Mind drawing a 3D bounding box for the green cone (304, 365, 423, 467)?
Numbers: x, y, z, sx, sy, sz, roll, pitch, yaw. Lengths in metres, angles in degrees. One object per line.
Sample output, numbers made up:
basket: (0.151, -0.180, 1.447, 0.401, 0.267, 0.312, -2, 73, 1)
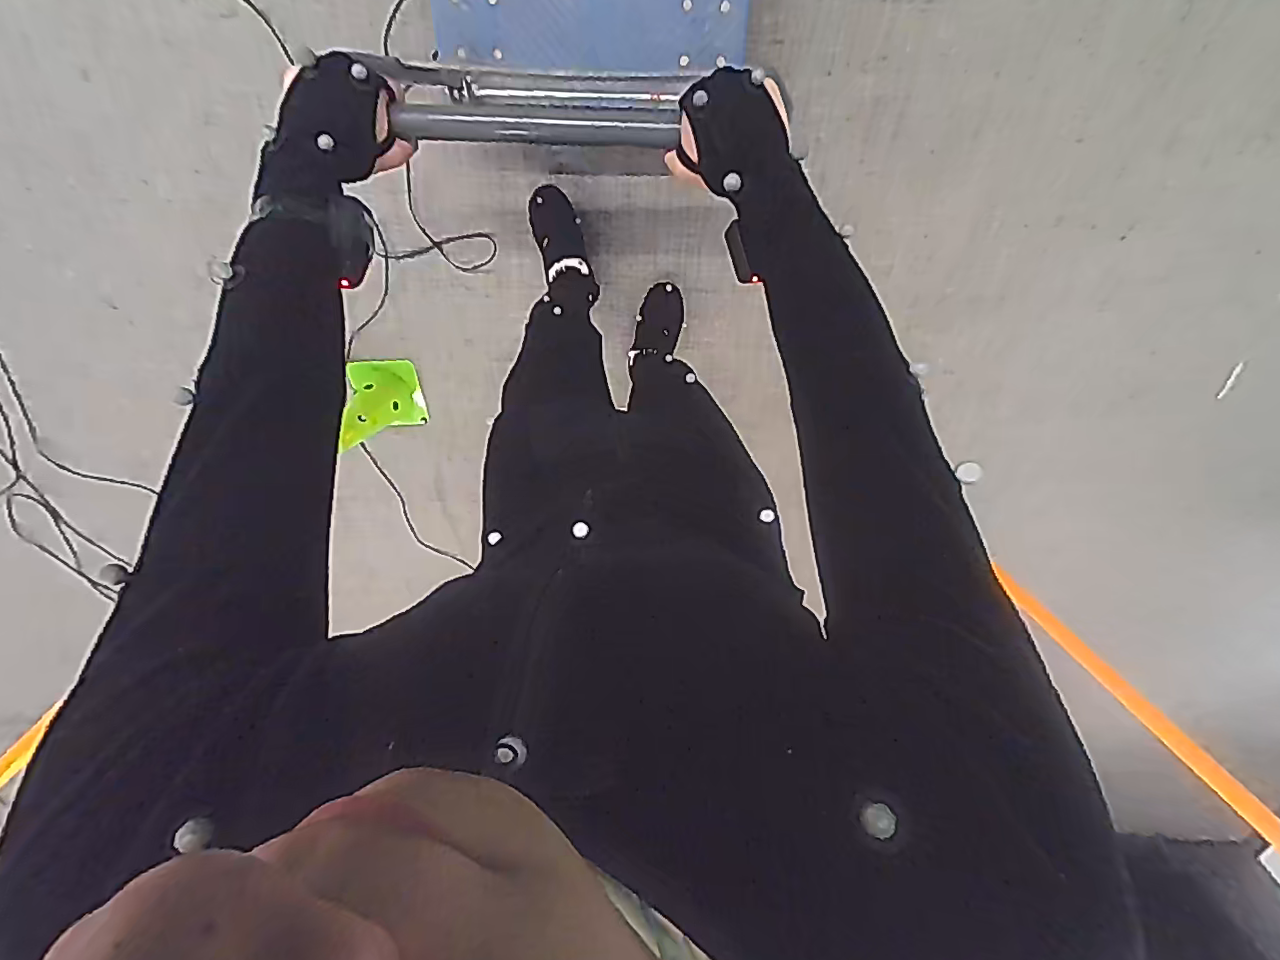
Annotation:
green cone: (-0.751, -0.144, 1.412, 0.202, 0.368, 0.200, -2, 121, 4)
